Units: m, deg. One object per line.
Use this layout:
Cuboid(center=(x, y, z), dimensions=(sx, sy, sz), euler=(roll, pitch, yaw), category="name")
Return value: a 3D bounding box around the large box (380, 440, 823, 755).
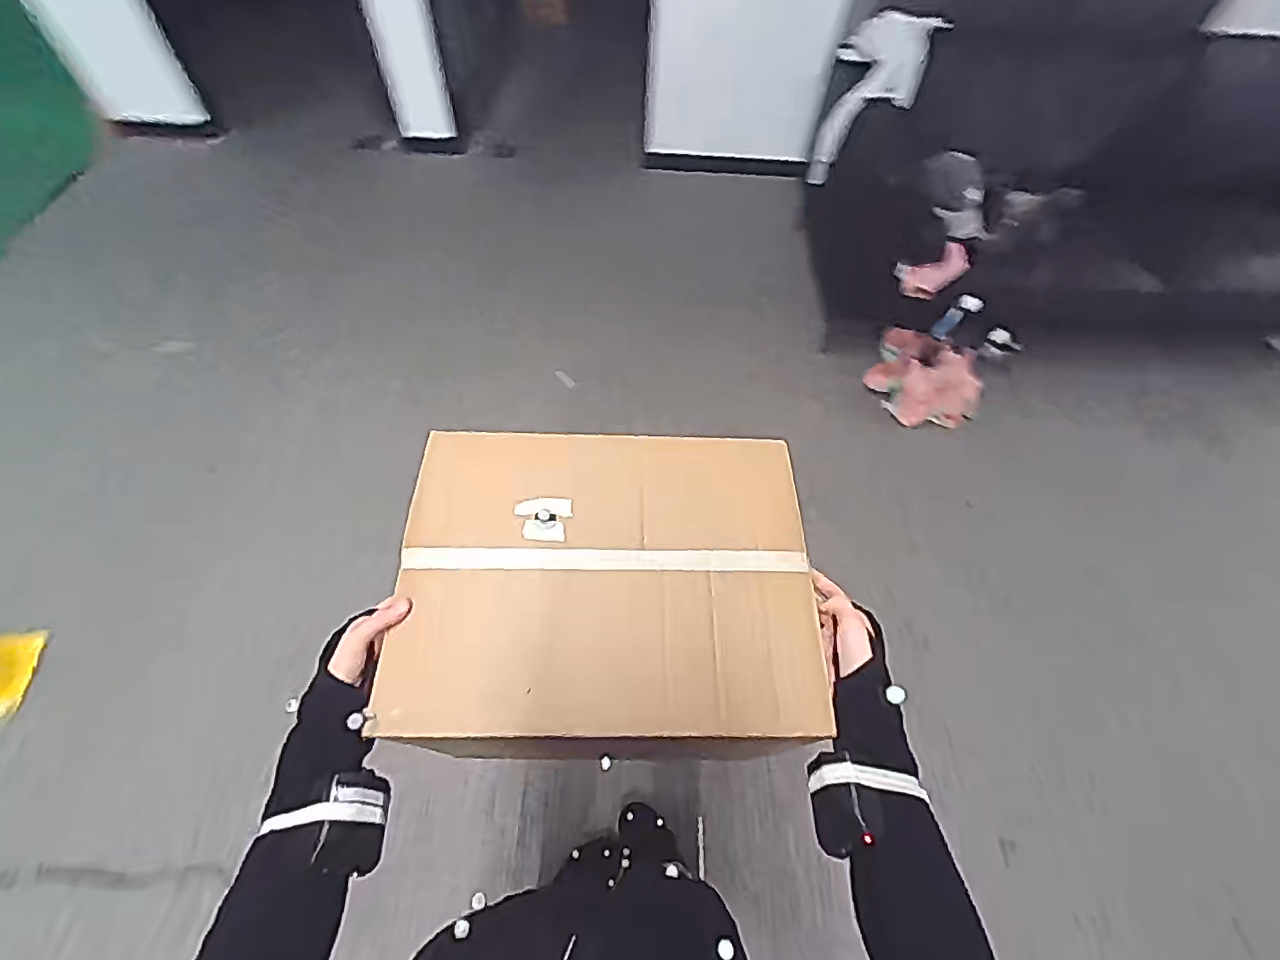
Cuboid(center=(-0.039, 0.163, 0.682), dimensions=(0.408, 0.320, 0.320), euler=(0, 59, -2), category="large box")
